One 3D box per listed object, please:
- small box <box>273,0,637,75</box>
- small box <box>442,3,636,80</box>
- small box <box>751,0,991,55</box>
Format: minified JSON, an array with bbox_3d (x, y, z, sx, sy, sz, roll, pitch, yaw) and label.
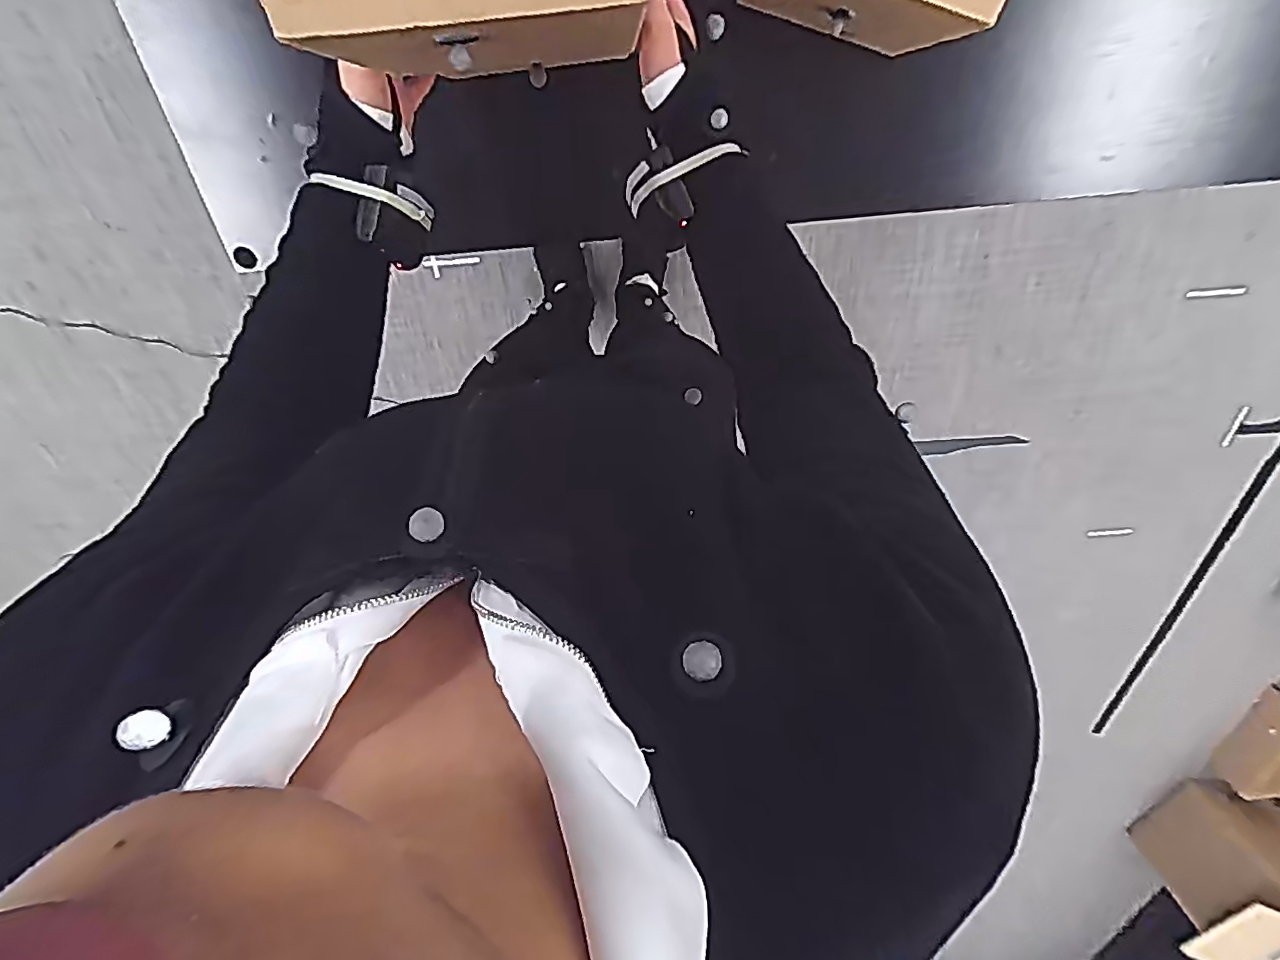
[{"bbox_3d":[-0.093,-0.329,0.285,0.179,0.176,0.168,-6,123,0],"label":"small box"},{"bbox_3d":[-0.102,-0.426,0.419,0.179,0.176,0.168,-7,122,0],"label":"small box"},{"bbox_3d":[0.190,-0.460,0.413,0.168,0.176,0.179,10,120,-10],"label":"small box"}]
